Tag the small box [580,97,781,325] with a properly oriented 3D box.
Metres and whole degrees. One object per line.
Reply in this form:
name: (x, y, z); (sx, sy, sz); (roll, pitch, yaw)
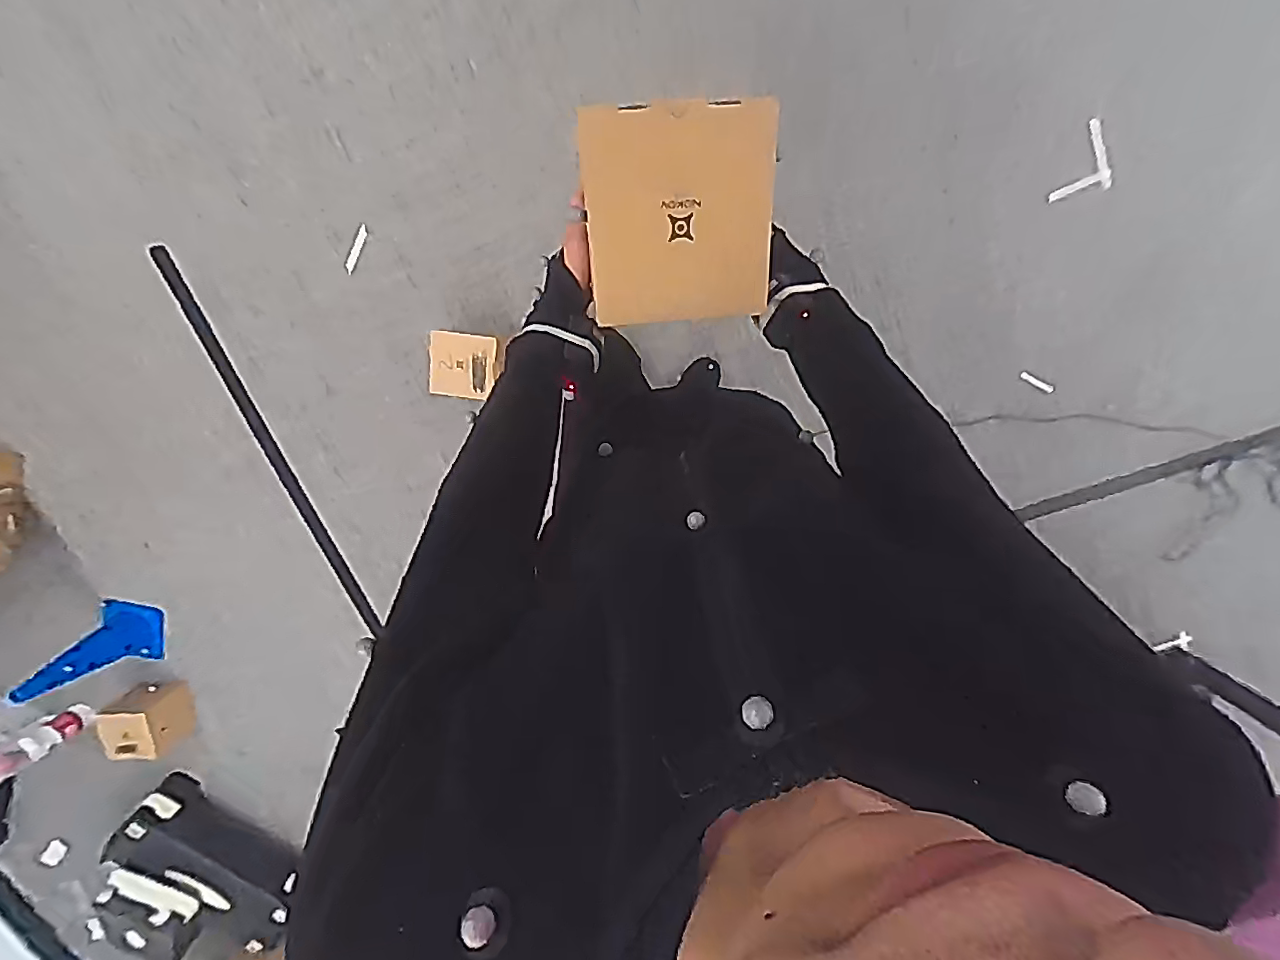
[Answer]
small box: (0.031, -0.267, 0.544); (0.168, 0.176, 0.179); (-5, 119, -3)
